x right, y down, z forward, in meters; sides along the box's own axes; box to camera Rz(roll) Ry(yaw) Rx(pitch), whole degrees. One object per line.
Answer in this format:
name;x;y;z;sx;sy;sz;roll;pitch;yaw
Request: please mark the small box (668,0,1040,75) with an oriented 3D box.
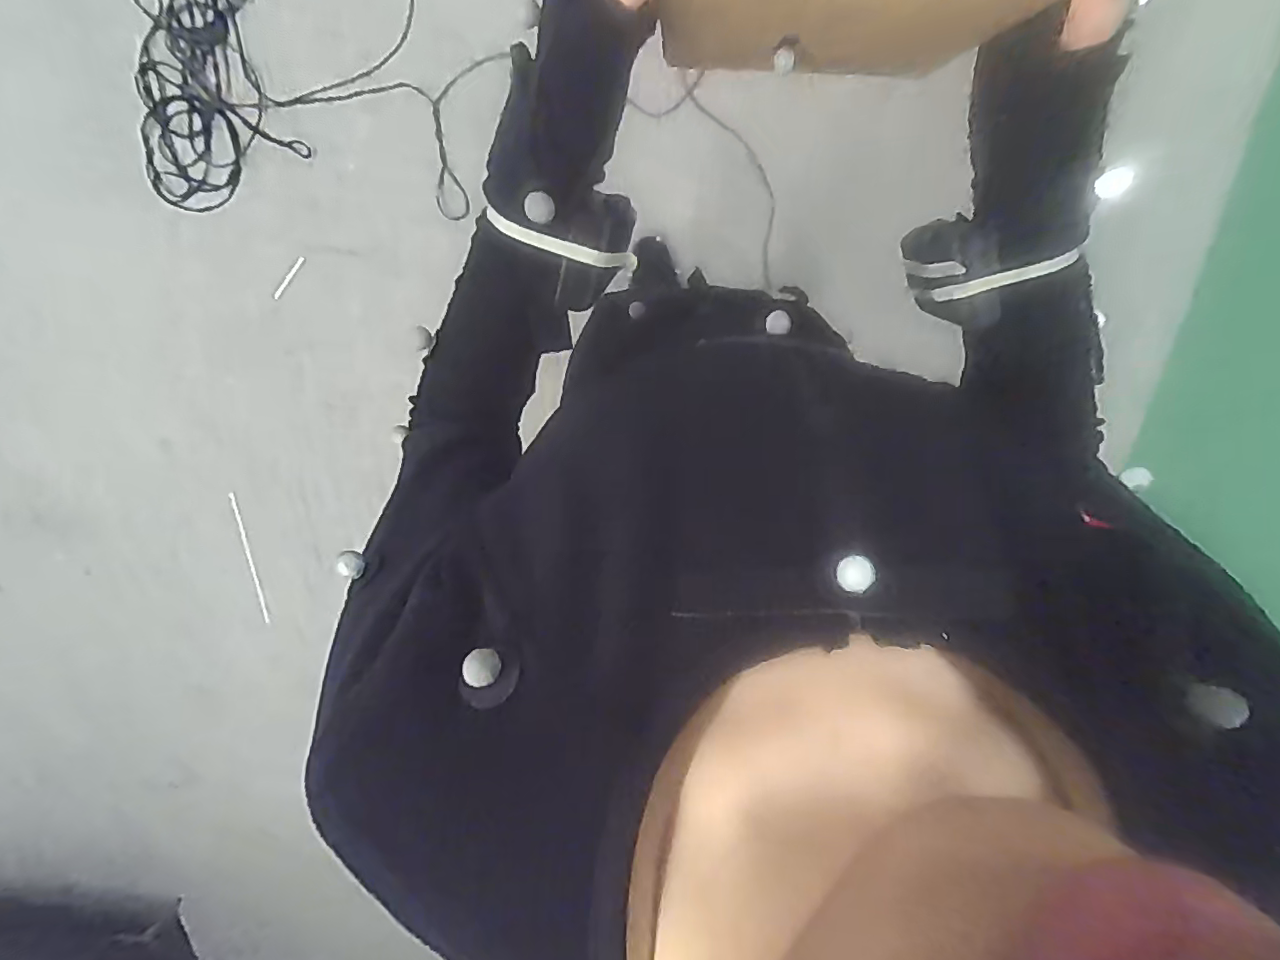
small box;0.096;-0.302;0.230;0.168;0.176;0.179;4;116;3
